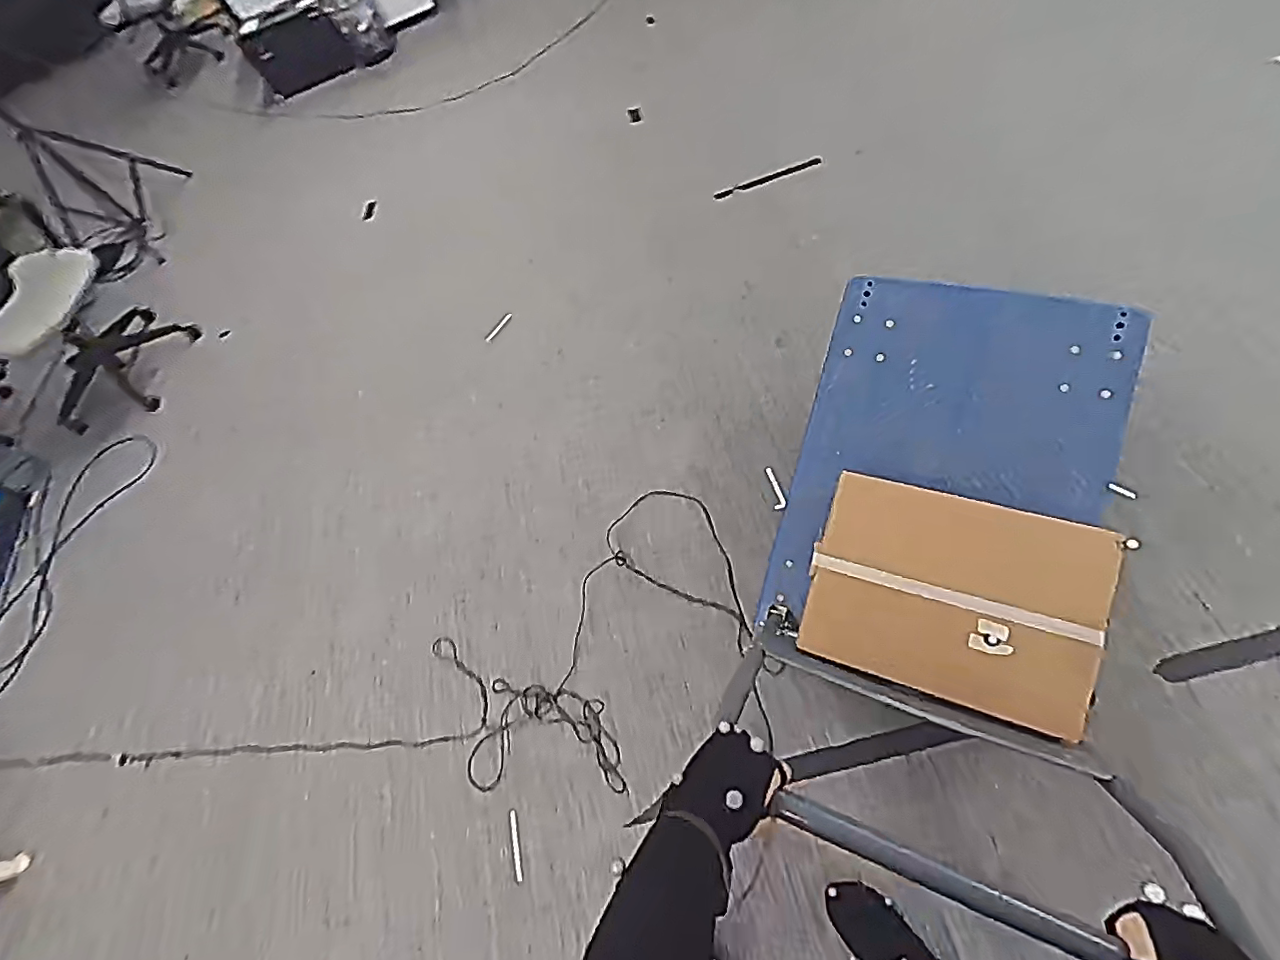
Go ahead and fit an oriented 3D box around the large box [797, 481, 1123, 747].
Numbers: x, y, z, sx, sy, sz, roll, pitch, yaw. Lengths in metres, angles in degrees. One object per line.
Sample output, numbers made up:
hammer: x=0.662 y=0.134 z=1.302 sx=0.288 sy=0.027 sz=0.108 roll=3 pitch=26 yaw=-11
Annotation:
large box: x=0.522 y=0.209 z=0.977 sx=0.408 sy=0.320 sz=0.320 roll=15 pitch=89 yaw=19
